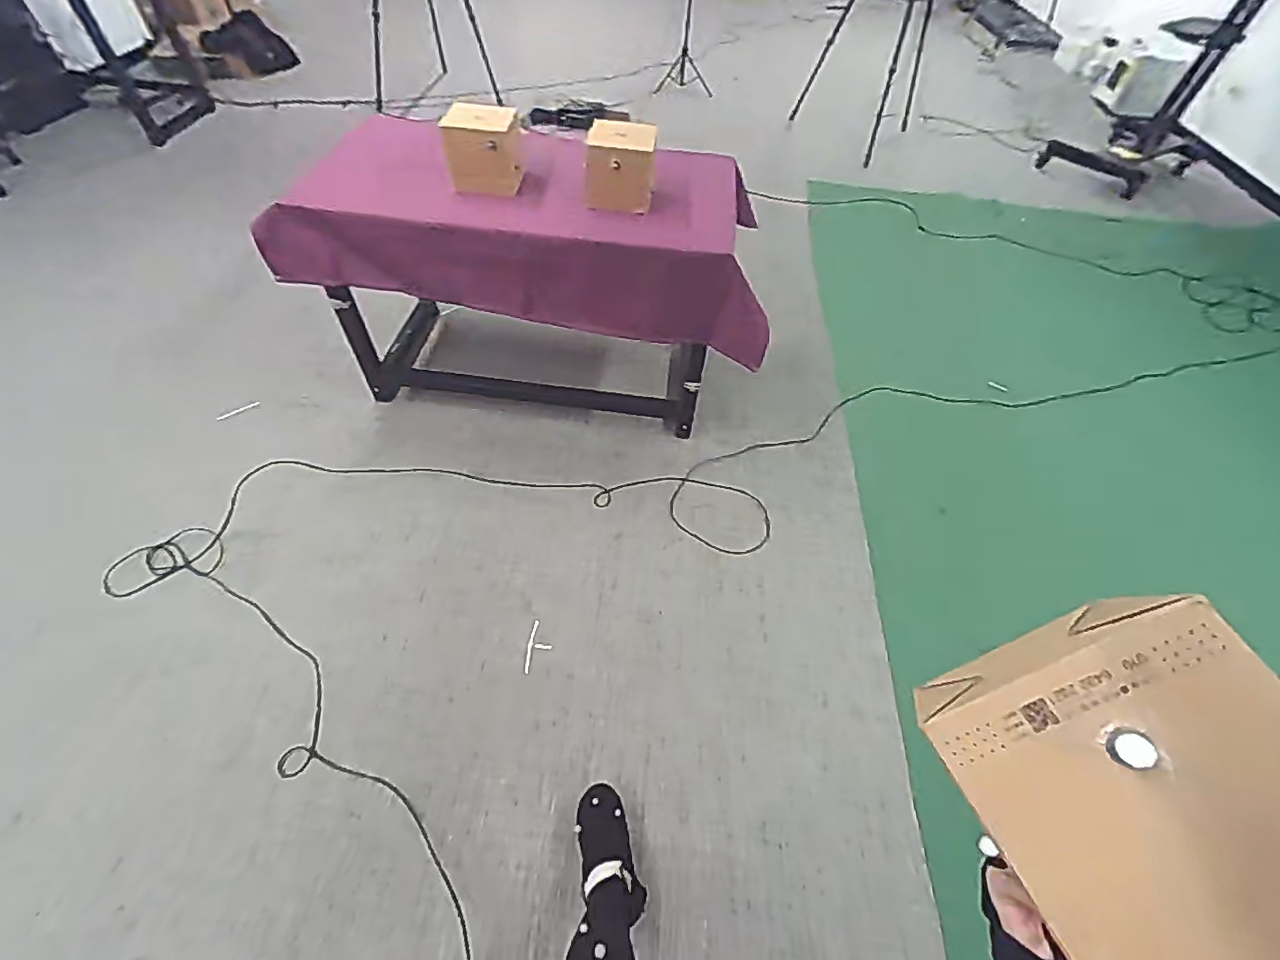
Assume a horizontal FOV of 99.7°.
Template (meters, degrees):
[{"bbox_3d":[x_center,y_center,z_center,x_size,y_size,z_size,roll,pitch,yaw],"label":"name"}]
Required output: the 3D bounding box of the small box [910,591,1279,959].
[{"bbox_3d":[0.304,0.186,0.358,0.168,0.179,0.176,-36,65,14],"label":"small box"}]

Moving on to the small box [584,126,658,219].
[{"bbox_3d":[-0.052,-0.842,1.486,0.179,0.176,0.168,8,53,1],"label":"small box"}]

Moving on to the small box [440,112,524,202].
[{"bbox_3d":[-0.432,-0.896,1.504,0.179,0.176,0.168,4,52,-2],"label":"small box"}]
